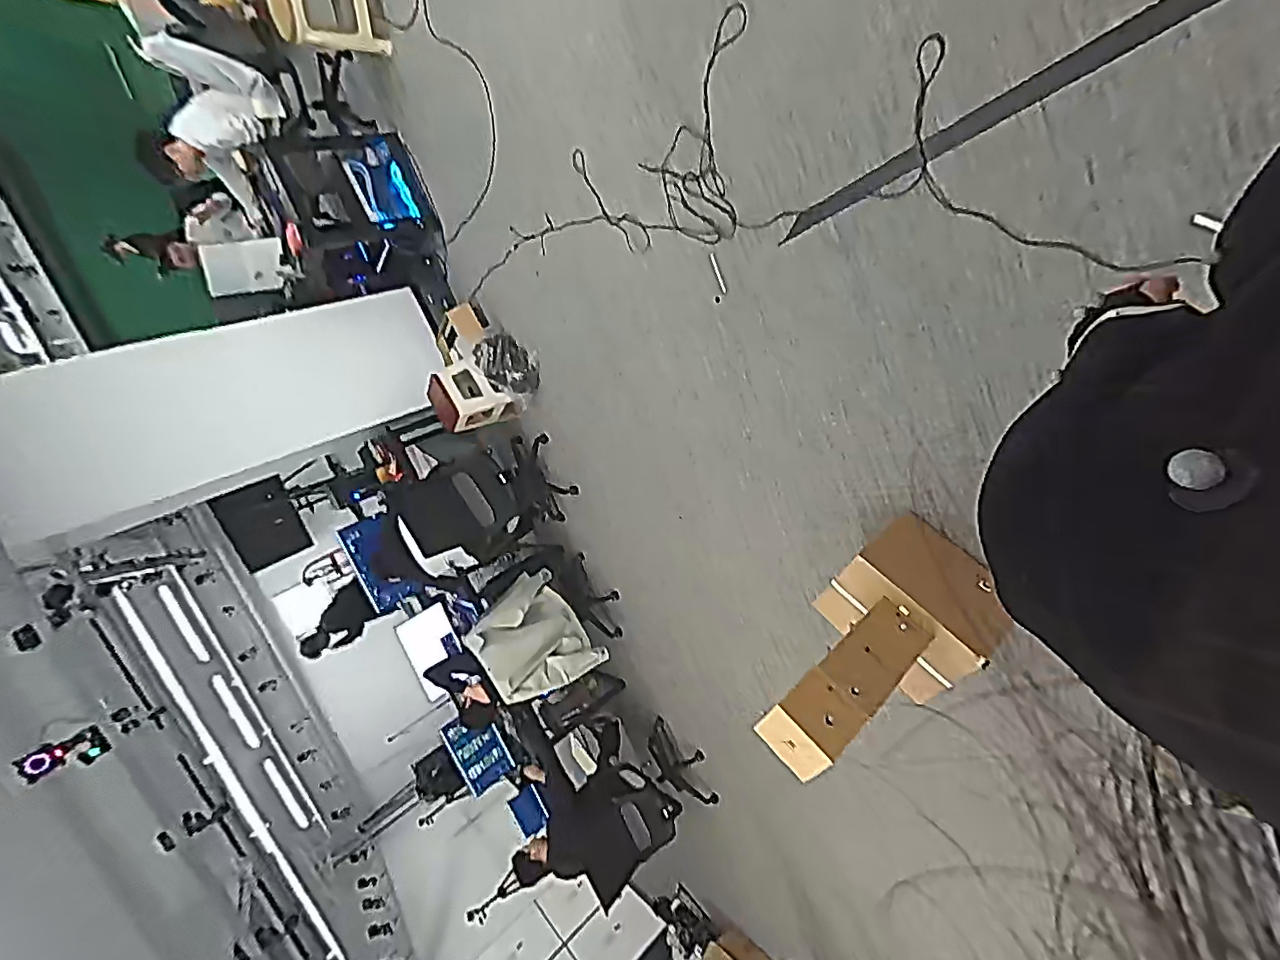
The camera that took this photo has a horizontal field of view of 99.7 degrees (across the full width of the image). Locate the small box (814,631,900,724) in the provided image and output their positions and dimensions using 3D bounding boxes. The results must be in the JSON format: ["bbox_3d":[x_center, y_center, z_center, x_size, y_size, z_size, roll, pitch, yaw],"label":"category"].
[{"bbox_3d":[0.542,0.532,1.413,0.168,0.176,0.179,44,144,25],"label":"small box"}]

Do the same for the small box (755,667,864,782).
[{"bbox_3d":[0.418,0.594,1.325,0.168,0.176,0.179,44,144,25],"label":"small box"}]

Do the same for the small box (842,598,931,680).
[{"bbox_3d":[0.664,0.464,1.498,0.168,0.176,0.179,44,143,25],"label":"small box"}]
